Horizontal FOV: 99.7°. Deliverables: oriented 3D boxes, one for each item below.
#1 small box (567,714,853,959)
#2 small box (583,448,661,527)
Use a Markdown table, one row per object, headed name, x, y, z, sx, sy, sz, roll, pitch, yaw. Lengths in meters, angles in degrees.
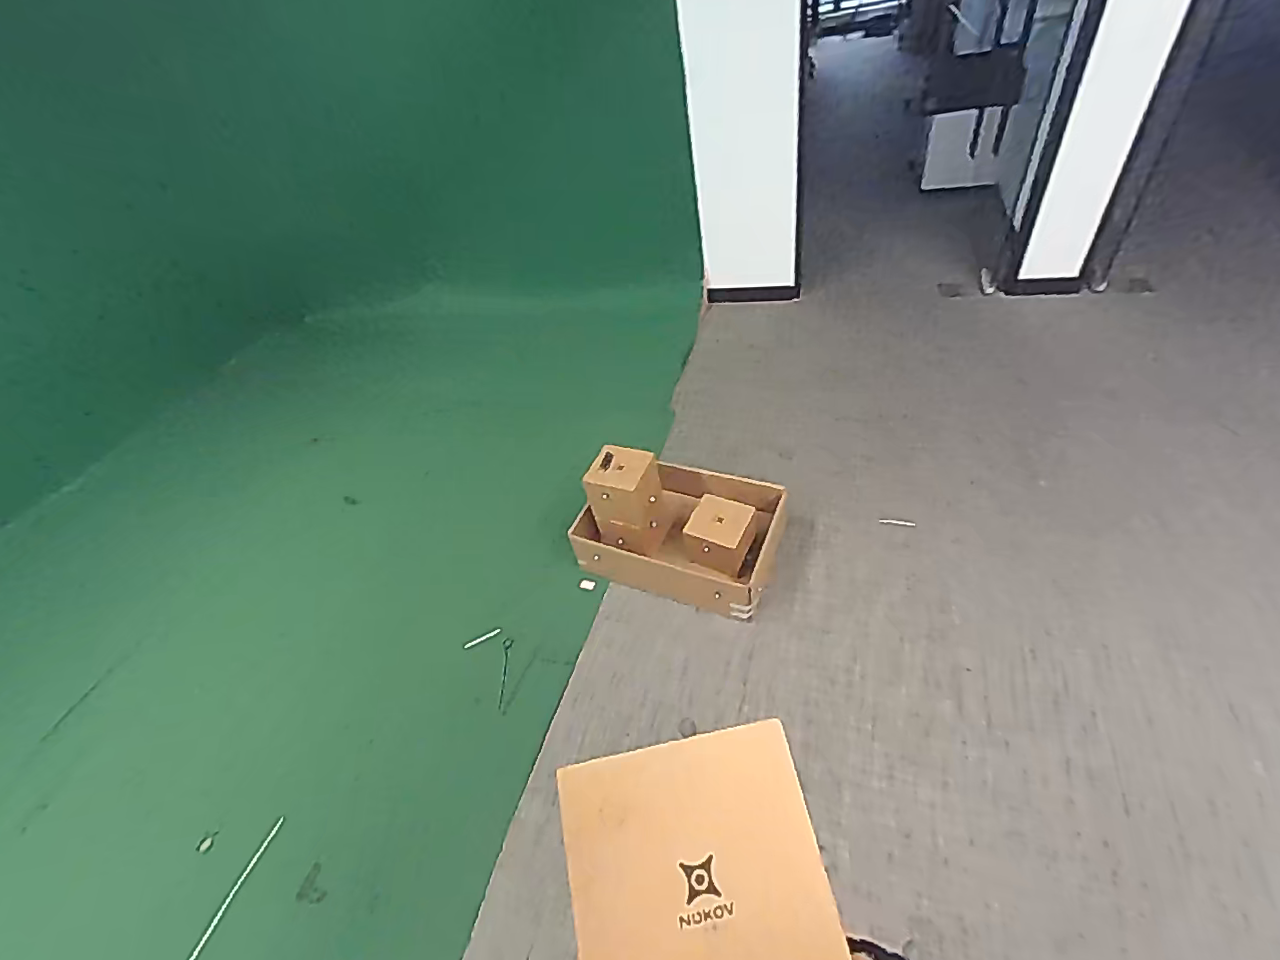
| name | x | y | z | sx | sy | sz | roll | pitch | yaw |
| --- | --- | --- | --- | --- | --- | --- | --- | --- | --- |
| small box | 0.038 | 0.295 | 0.421 | 0.168 | 0.176 | 0.179 | -9 | 65 | -7 |
| small box | -0.049 | 0.026 | 1.692 | 0.179 | 0.176 | 0.168 | 12 | 50 | 23 |
